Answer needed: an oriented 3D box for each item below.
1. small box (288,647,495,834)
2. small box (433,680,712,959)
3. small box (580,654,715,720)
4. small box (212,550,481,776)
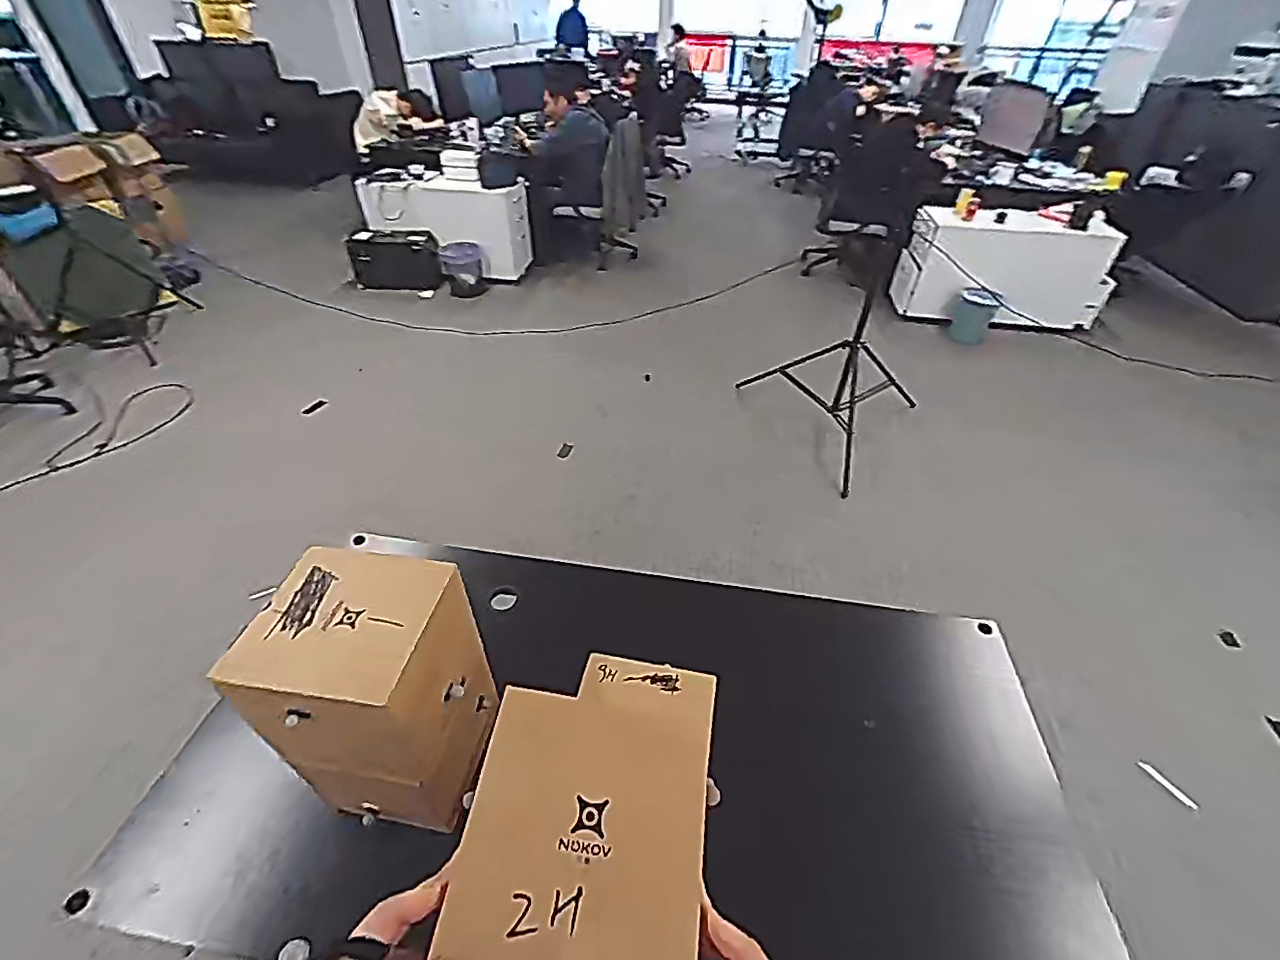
[{"bbox_3d":[-0.299,0.323,0.702,0.168,0.176,0.179,6,42,6],"label":"small box"},{"bbox_3d":[-0.042,0.291,0.438,0.168,0.176,0.179,9,50,2],"label":"small box"},{"bbox_3d":[-0.002,0.352,0.678,0.168,0.176,0.179,8,42,8],"label":"small box"},{"bbox_3d":[-0.296,0.200,0.593,0.179,0.176,0.168,6,41,5],"label":"small box"}]
